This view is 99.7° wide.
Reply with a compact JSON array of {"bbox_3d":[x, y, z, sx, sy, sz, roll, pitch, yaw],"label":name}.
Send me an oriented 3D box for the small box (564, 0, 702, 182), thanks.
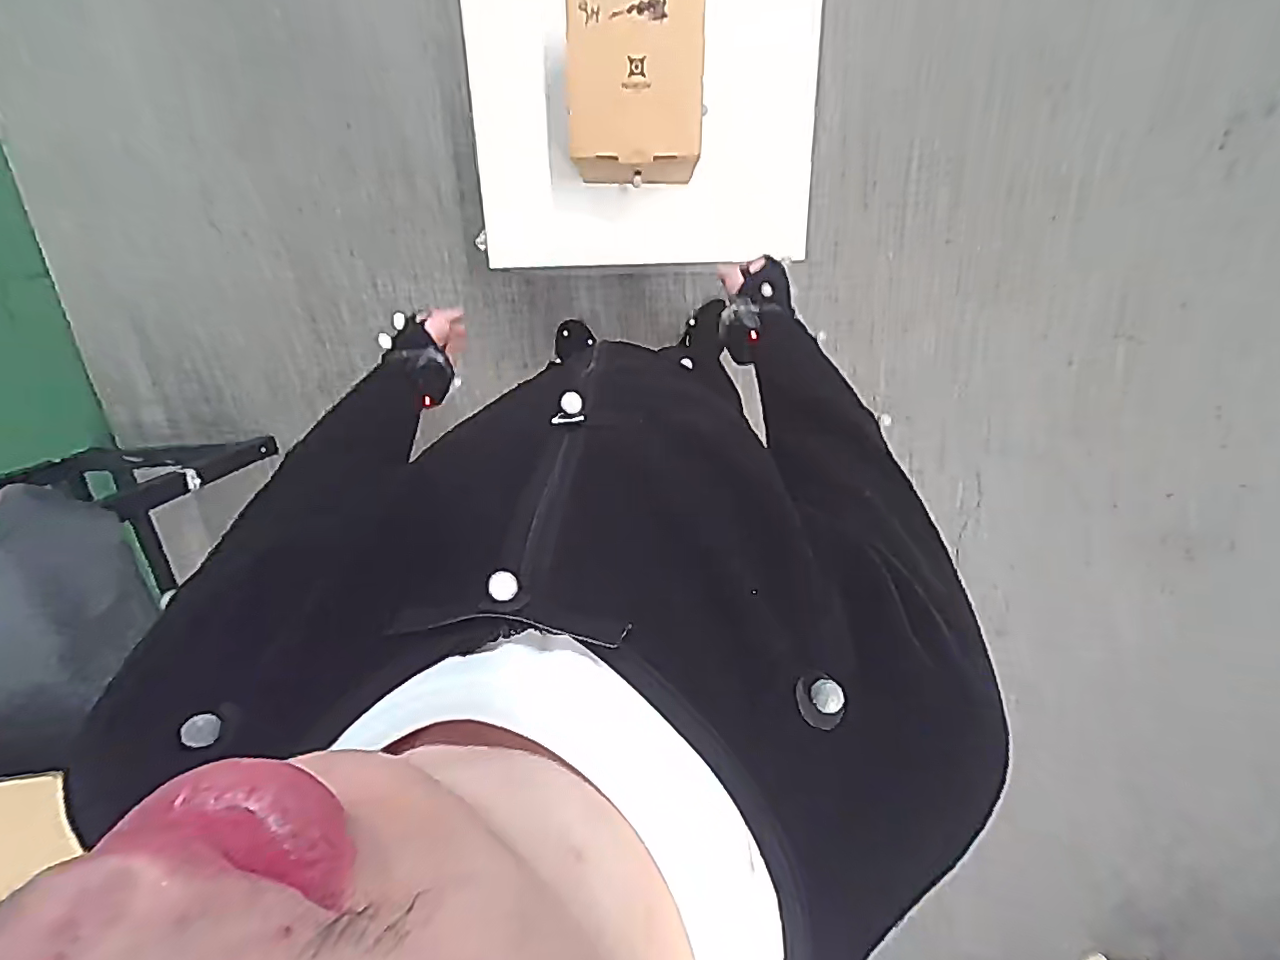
[{"bbox_3d":[-0.010,-0.514,0.733,0.168,0.176,0.179,-2,109,-2],"label":"small box"}]
